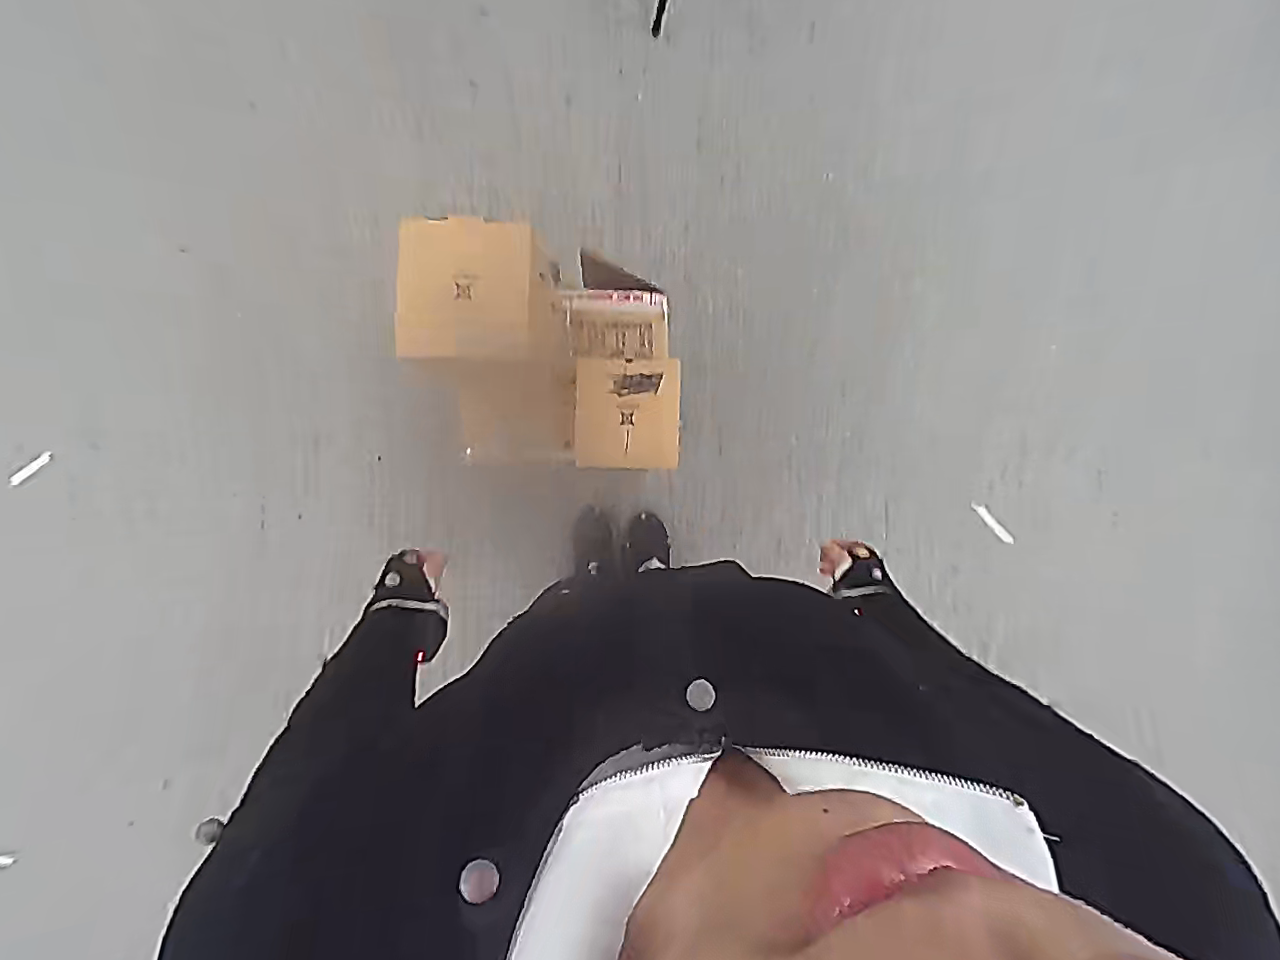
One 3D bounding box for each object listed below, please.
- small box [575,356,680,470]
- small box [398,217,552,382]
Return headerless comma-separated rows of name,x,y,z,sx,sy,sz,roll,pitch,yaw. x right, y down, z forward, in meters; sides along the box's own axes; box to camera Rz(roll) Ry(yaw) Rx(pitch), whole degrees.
small box,-0.026,-0.107,0.932,0.168,0.176,0.179,1,92,-4
small box,-0.219,-0.240,0.755,0.168,0.176,0.179,1,91,-1
